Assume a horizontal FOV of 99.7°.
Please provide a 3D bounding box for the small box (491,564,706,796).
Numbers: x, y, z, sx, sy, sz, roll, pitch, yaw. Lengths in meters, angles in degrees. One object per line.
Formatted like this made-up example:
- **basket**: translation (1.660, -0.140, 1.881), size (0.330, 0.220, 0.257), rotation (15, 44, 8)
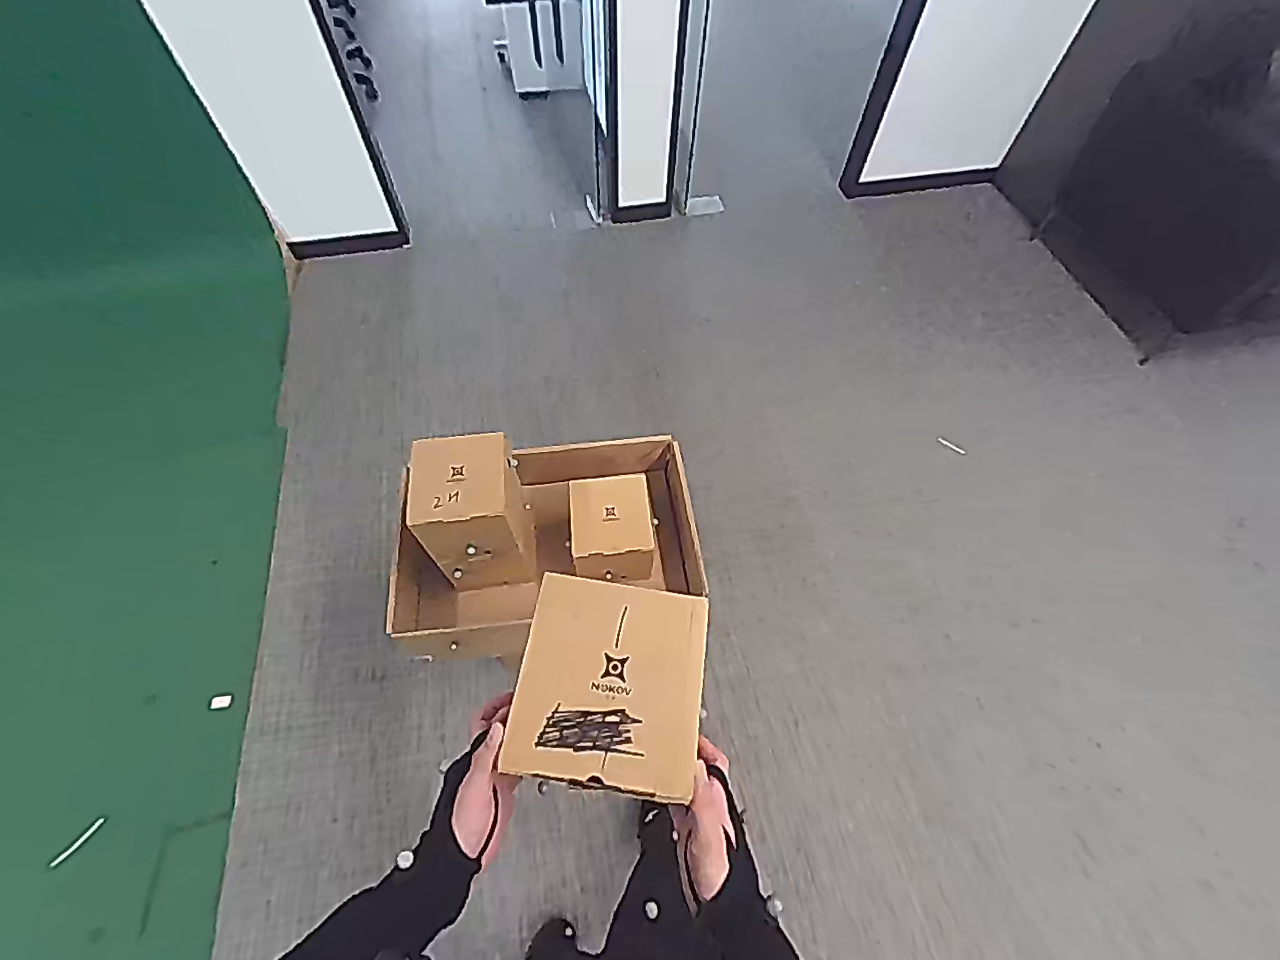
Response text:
- **small box**: translation (-0.034, 0.208, 0.548), size (0.168, 0.176, 0.179), rotation (10, 59, 0)

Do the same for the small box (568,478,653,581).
- **small box**: translation (-0.067, 0.115, 1.168), size (0.168, 0.176, 0.179), rotation (-5, 60, -5)

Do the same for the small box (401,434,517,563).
- **small box**: translation (-0.328, 0.037, 1.012), size (0.168, 0.176, 0.179), rotation (-6, 59, -5)
